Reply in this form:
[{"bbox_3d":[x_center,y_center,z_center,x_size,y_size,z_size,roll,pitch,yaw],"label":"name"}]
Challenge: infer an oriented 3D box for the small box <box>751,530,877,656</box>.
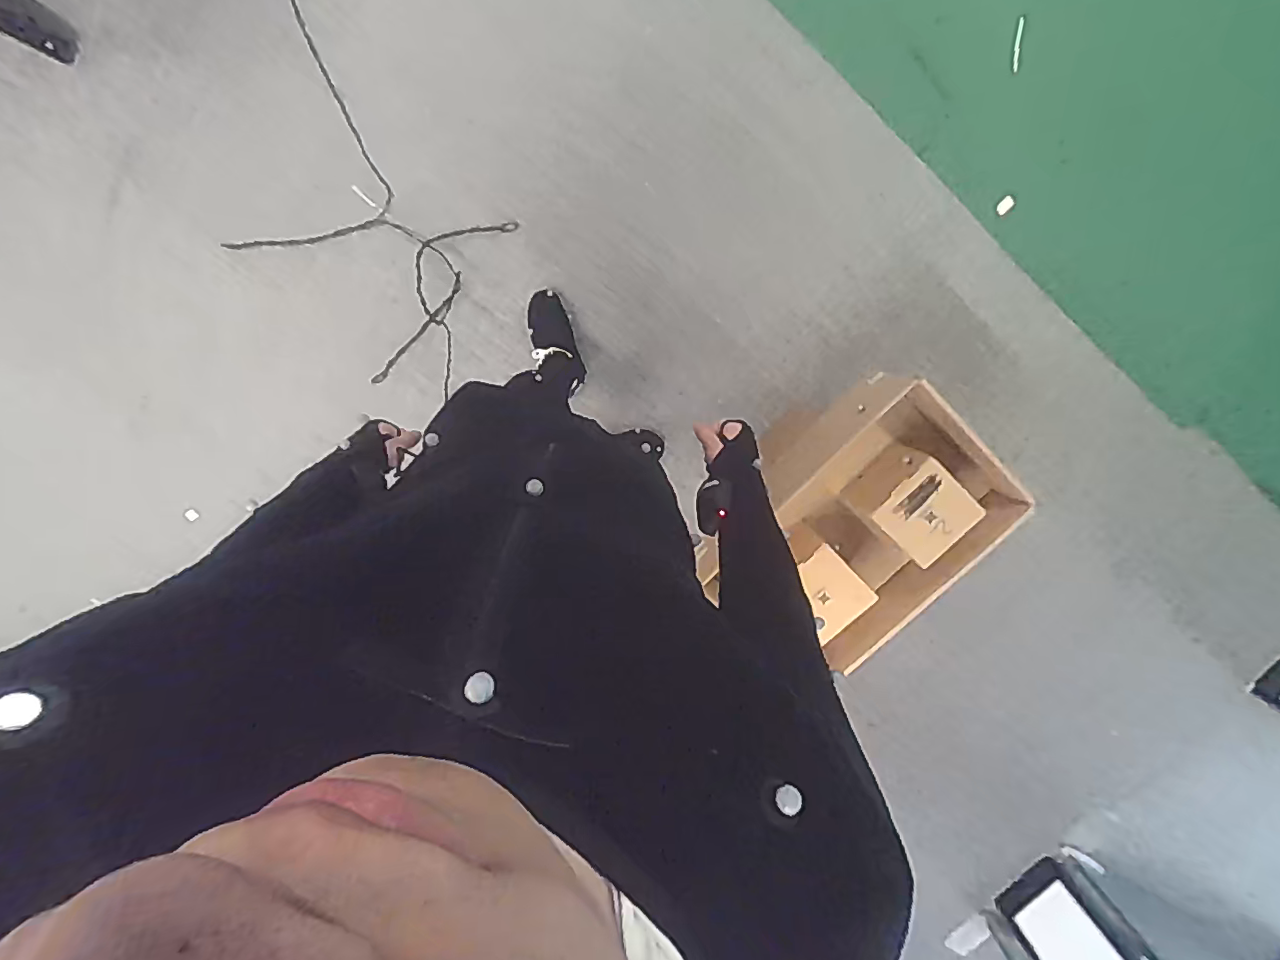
[{"bbox_3d":[0.371,0.237,1.182,0.179,0.176,0.168,44,99,-10],"label":"small box"}]
